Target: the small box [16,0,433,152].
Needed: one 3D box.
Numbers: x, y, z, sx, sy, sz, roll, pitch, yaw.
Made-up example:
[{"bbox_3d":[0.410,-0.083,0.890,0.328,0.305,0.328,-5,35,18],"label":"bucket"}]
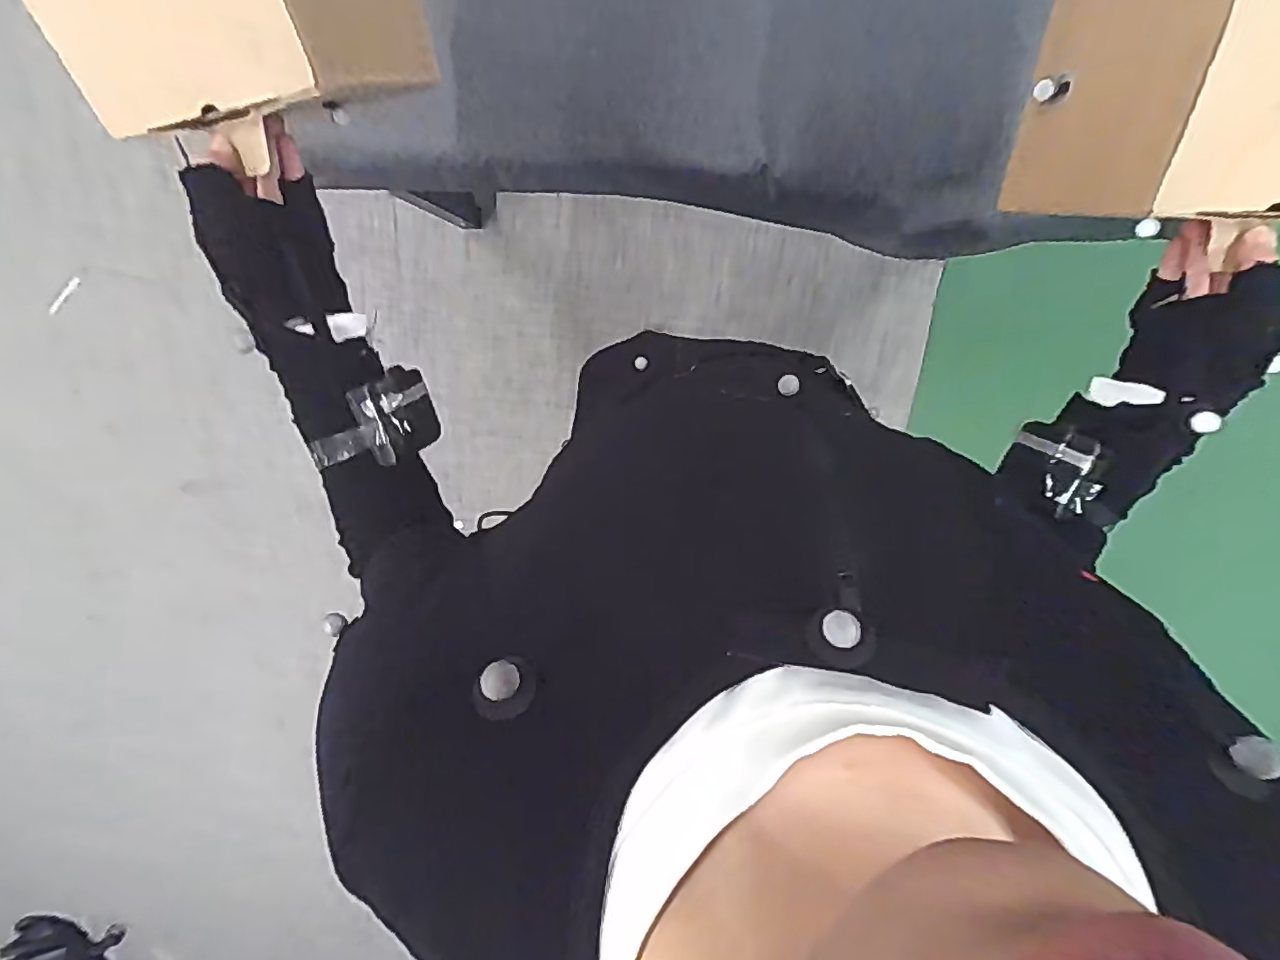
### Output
[{"bbox_3d":[-0.267,-0.335,0.349,0.168,0.176,0.179,-4,125,13],"label":"small box"}]
